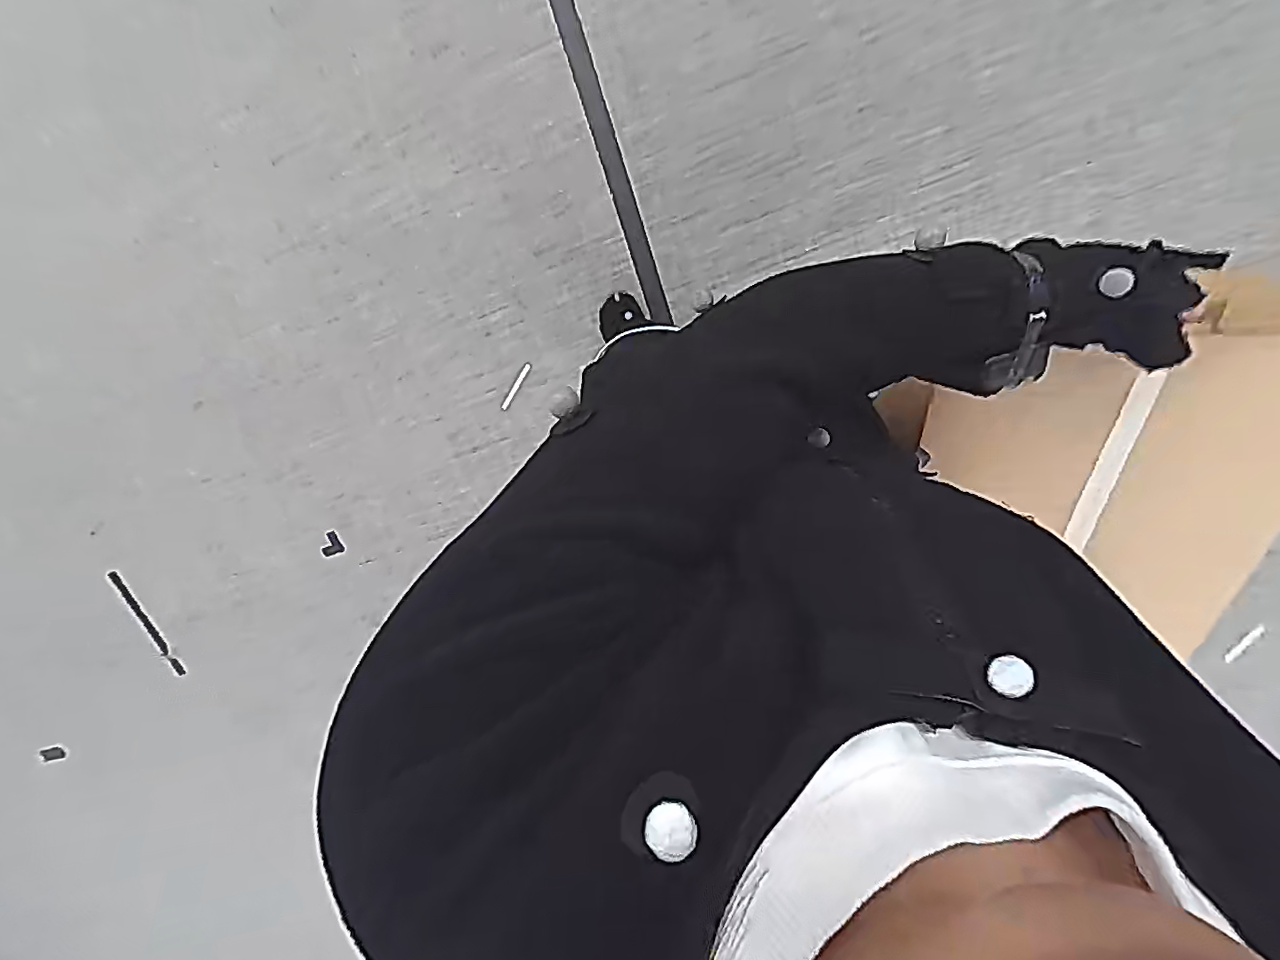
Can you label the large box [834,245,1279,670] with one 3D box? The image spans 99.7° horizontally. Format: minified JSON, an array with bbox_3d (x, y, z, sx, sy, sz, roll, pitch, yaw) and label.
[{"bbox_3d":[0.434,-0.037,0.653,0.320,0.320,0.408,3,124,11],"label":"large box"}]
